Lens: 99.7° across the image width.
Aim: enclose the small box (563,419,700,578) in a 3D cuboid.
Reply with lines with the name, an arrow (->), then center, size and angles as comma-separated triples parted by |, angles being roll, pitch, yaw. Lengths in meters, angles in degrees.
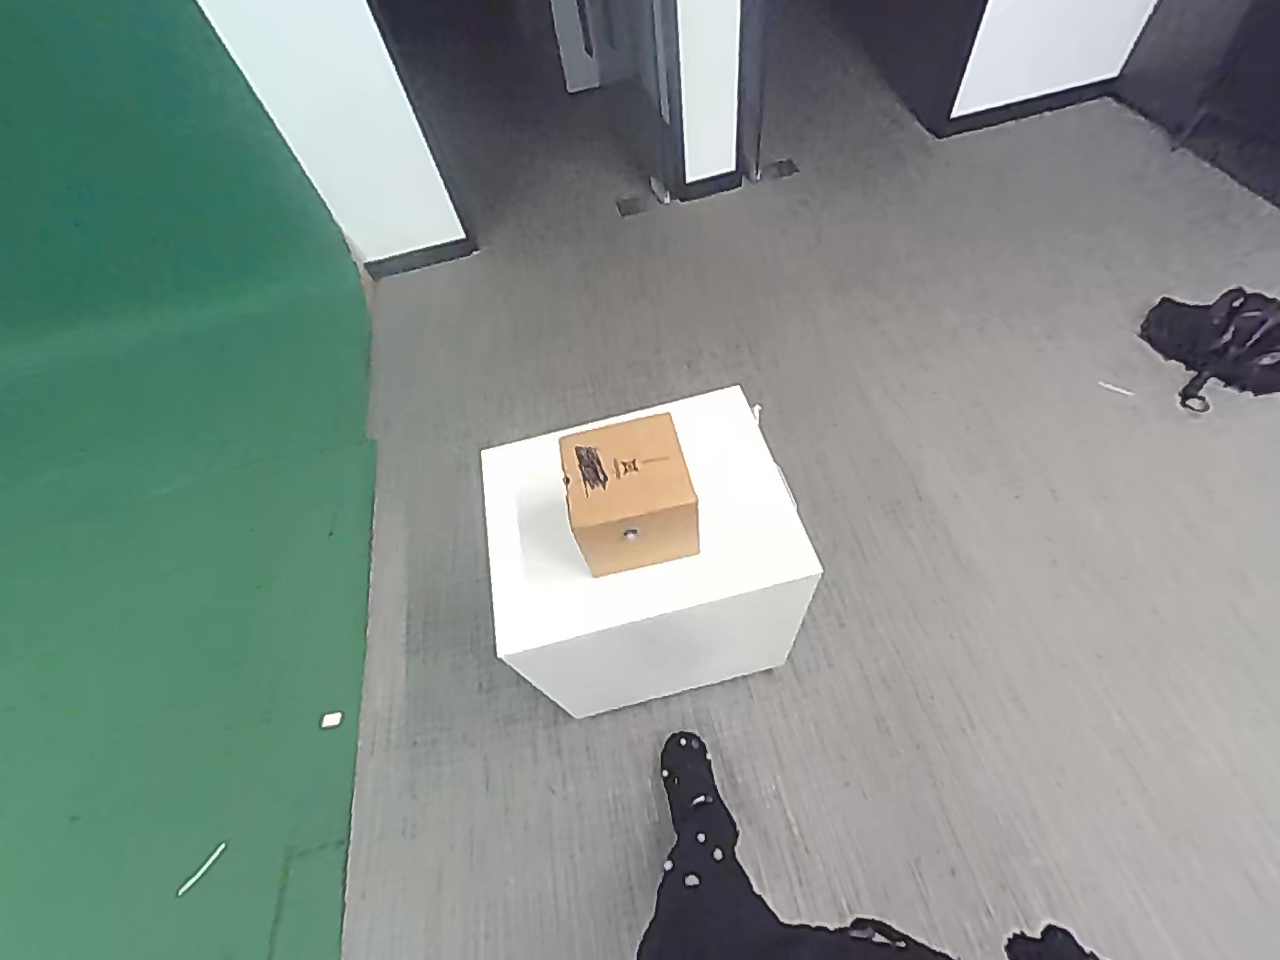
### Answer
small box -> -0.010, 0.036, 0.839 | 0.179, 0.176, 0.168 | -12, 56, -1
